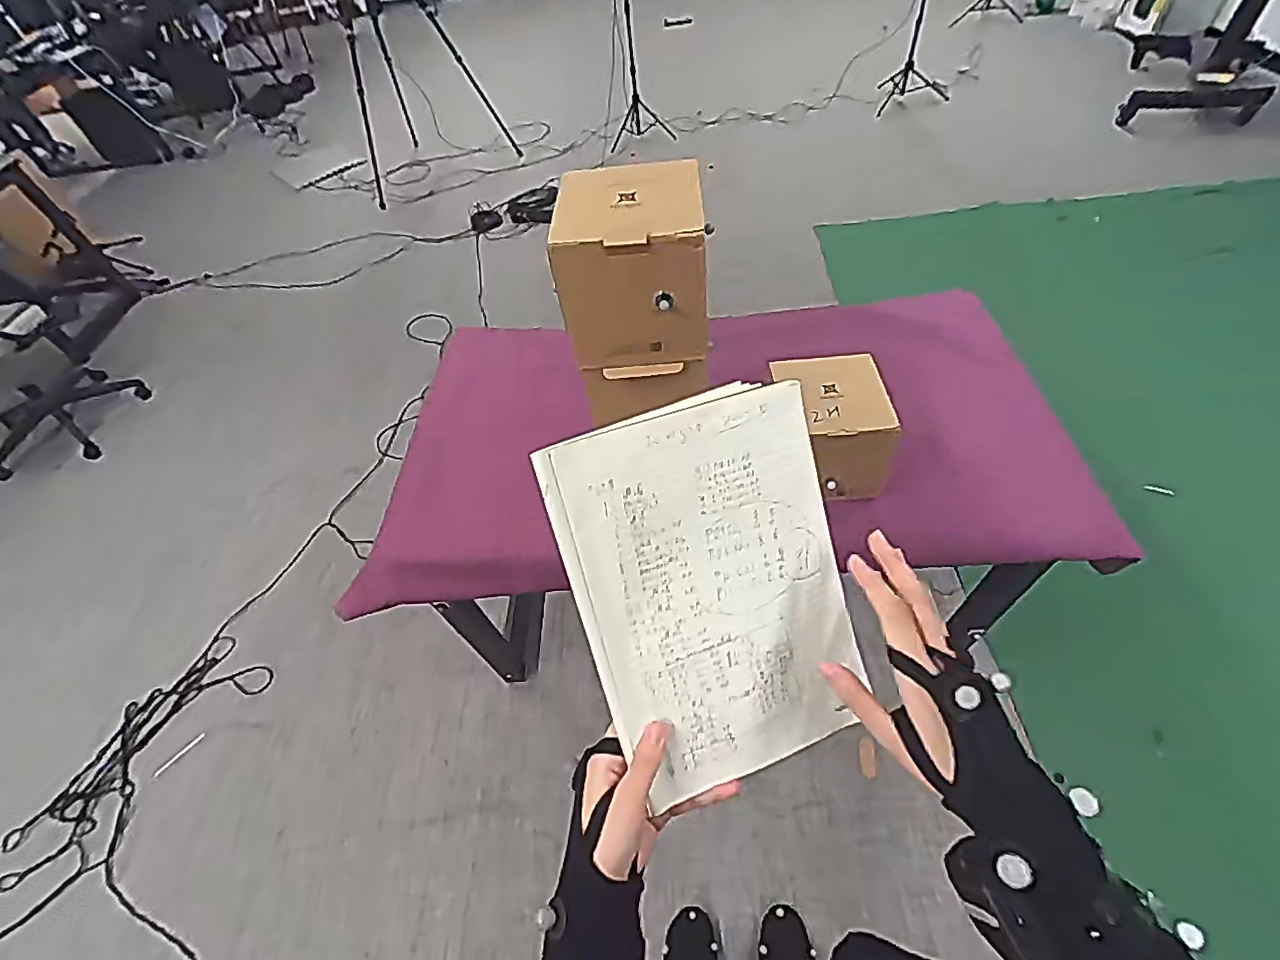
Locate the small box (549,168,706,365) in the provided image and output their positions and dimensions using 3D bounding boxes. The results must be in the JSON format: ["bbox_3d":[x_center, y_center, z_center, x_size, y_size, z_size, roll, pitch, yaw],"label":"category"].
[{"bbox_3d":[-0.004,-0.257,0.672,0.168,0.176,0.179,-2,51,5],"label":"small box"}]

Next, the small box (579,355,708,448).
[{"bbox_3d":[0.013,-0.160,0.802,0.168,0.176,0.179,-3,51,5],"label":"small box"}]

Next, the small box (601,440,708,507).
[{"bbox_3d":[0.031,-0.063,0.935,0.168,0.176,0.179,-3,52,5],"label":"small box"}]
